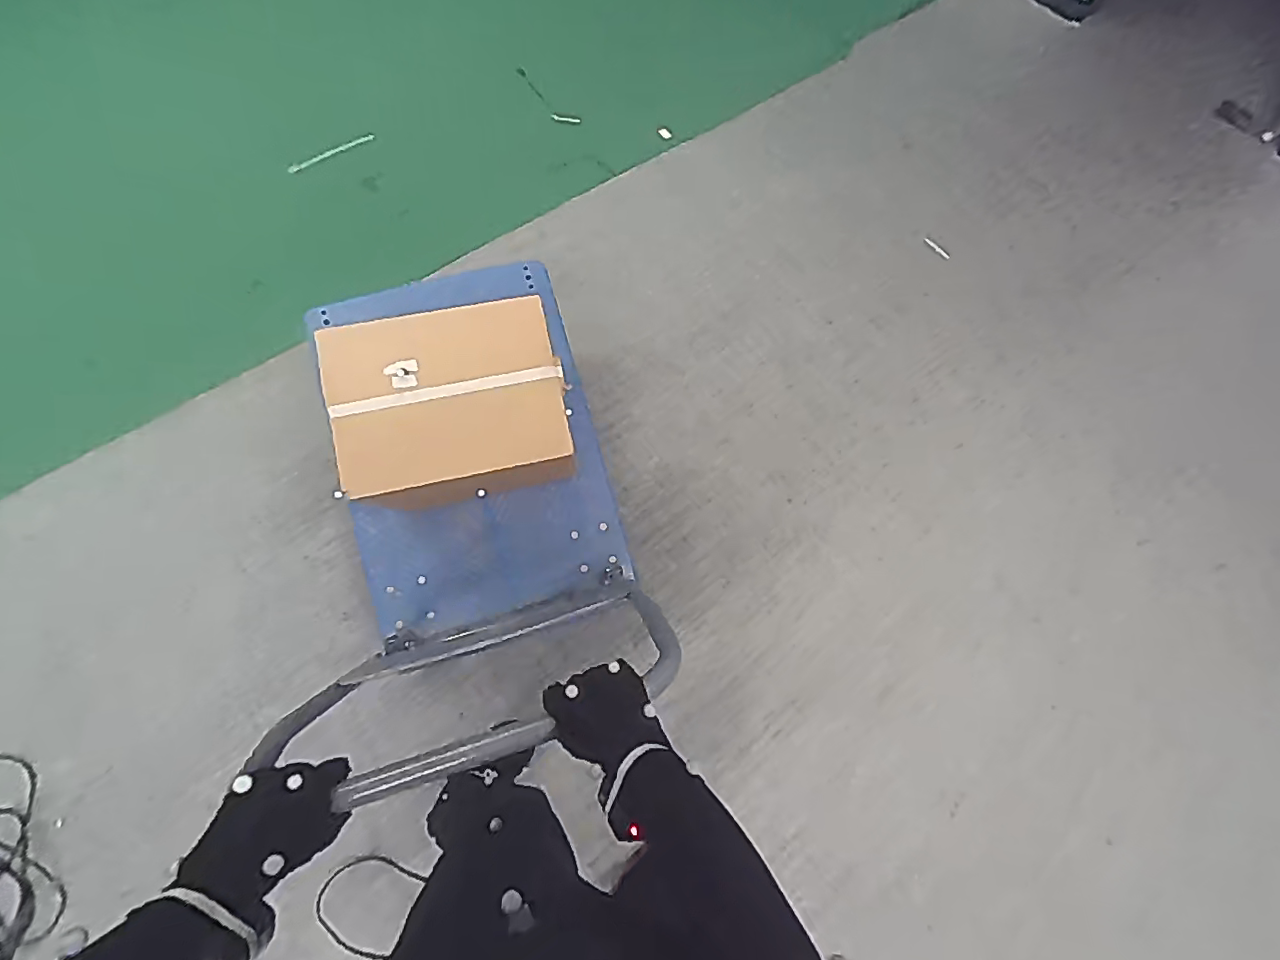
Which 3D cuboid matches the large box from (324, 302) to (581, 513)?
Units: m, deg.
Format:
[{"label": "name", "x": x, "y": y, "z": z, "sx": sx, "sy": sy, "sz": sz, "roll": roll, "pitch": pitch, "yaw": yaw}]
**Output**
[{"label": "large box", "x": -0.352, "y": -0.128, "z": 1.120, "sx": 0.408, "sy": 0.320, "sz": 0.320, "roll": -12, "pitch": 84, "yaw": -7}]
